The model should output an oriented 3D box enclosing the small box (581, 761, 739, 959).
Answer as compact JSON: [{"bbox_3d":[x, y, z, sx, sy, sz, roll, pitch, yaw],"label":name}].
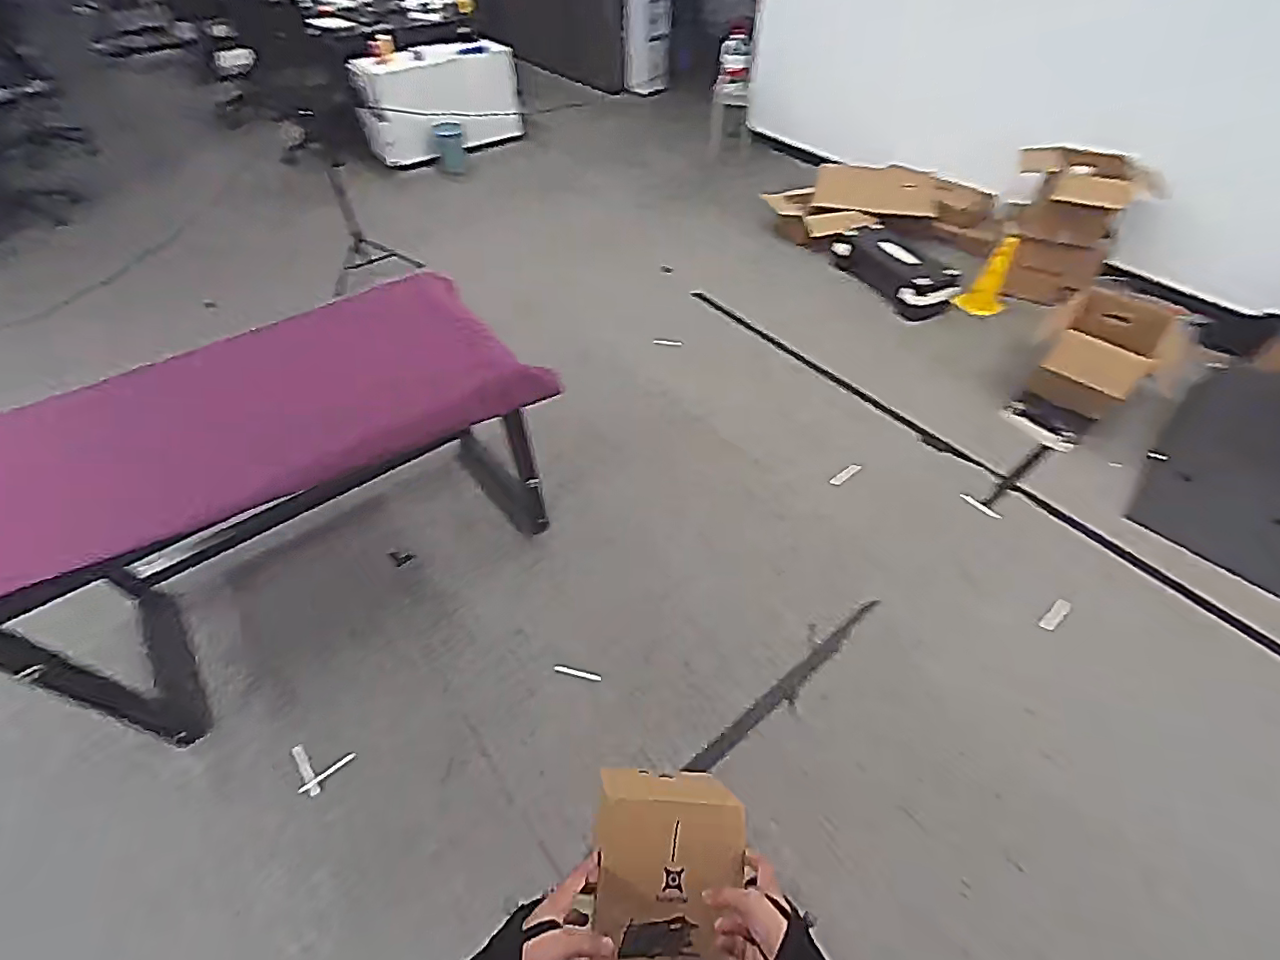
[{"bbox_3d":[0.018,0.468,0.675,0.168,0.176,0.179,7,71,-6],"label":"small box"}]
